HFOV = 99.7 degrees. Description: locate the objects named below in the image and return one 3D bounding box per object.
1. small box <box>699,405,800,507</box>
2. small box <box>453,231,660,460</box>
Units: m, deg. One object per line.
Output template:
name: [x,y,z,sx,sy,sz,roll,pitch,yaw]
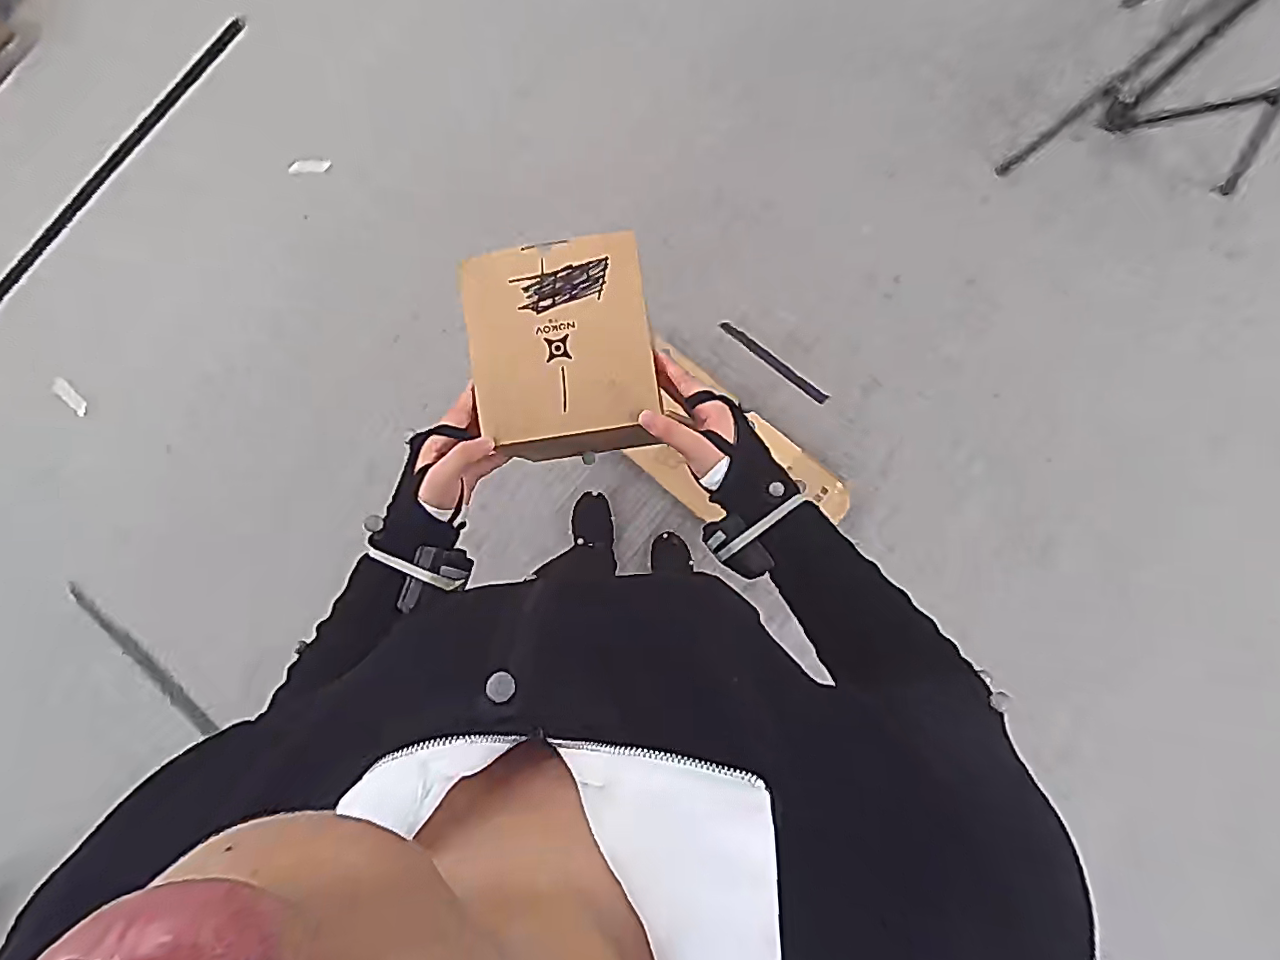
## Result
small box: [0.254,-0.050,1.311,0.168,0.176,0.179,40,89,6]
small box: [-0.073,-0.123,0.563,0.168,0.176,0.179,-9,88,5]
